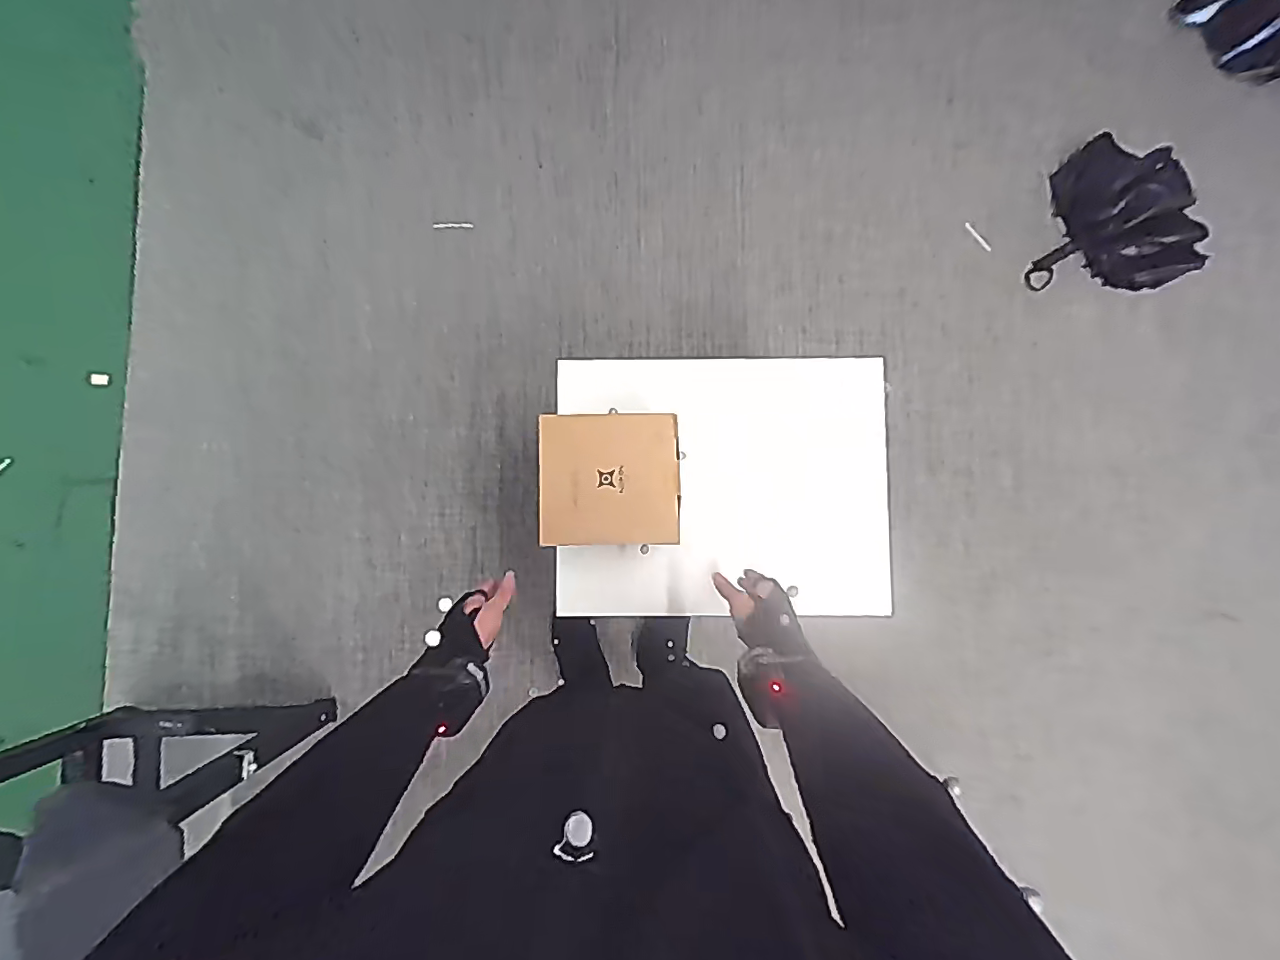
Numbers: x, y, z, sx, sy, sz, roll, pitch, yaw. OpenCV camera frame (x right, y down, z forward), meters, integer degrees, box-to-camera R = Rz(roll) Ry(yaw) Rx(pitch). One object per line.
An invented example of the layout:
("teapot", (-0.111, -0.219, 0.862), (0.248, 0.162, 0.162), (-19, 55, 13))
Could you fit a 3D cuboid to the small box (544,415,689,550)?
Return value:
("small box", (-0.033, 0.009, 0.735), (0.179, 0.176, 0.168), (-1, 84, -2))
